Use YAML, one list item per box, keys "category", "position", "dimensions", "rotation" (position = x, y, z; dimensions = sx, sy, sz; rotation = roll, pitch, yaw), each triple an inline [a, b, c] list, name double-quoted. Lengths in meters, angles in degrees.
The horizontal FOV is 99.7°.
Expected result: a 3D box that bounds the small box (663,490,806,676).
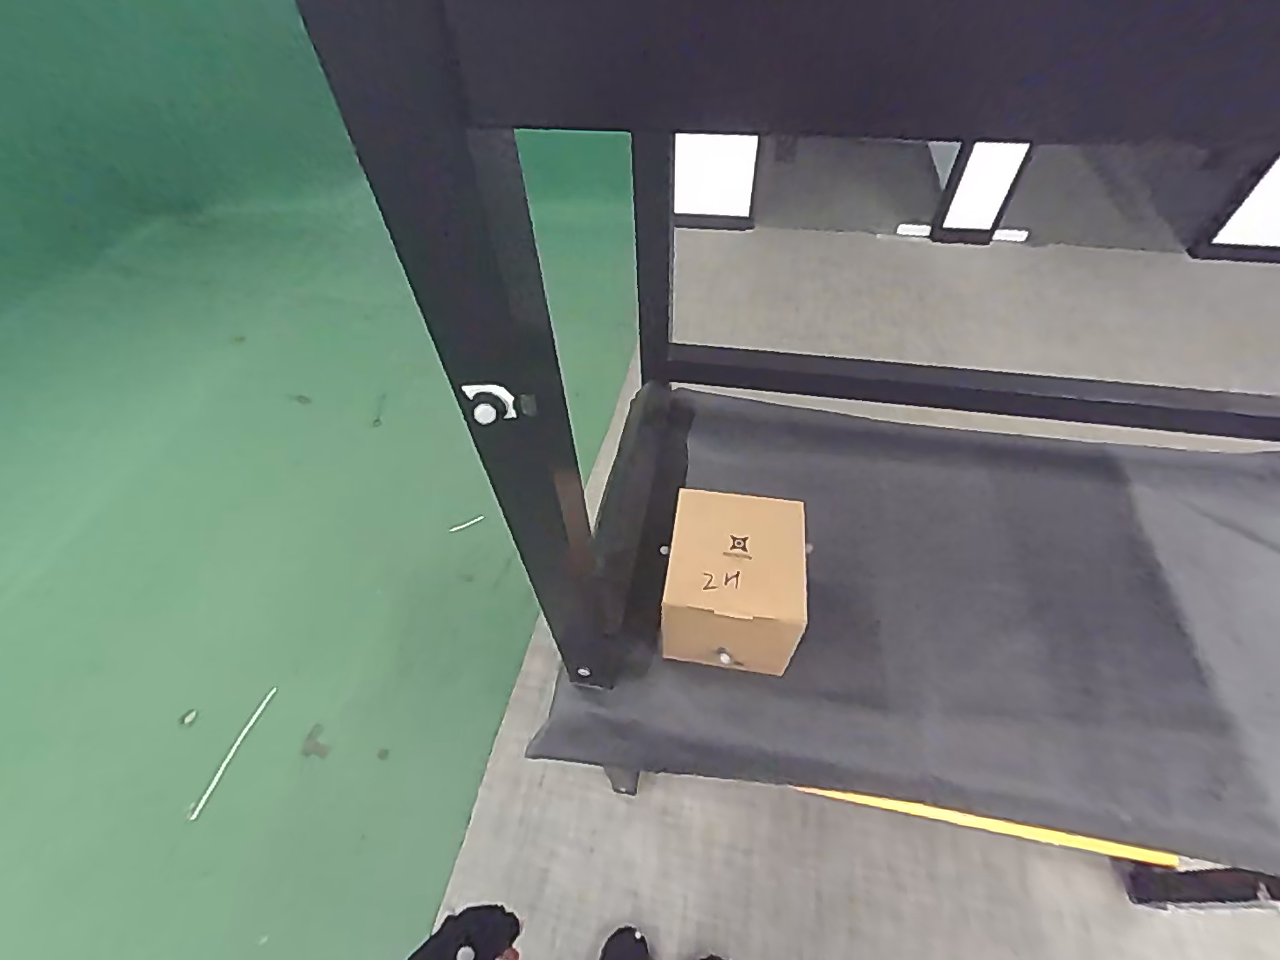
- category: "small box"
  position: [0.123, 0.140, 0.731]
  dimensions: [0.168, 0.176, 0.179]
  rotation: [6, 51, 8]
